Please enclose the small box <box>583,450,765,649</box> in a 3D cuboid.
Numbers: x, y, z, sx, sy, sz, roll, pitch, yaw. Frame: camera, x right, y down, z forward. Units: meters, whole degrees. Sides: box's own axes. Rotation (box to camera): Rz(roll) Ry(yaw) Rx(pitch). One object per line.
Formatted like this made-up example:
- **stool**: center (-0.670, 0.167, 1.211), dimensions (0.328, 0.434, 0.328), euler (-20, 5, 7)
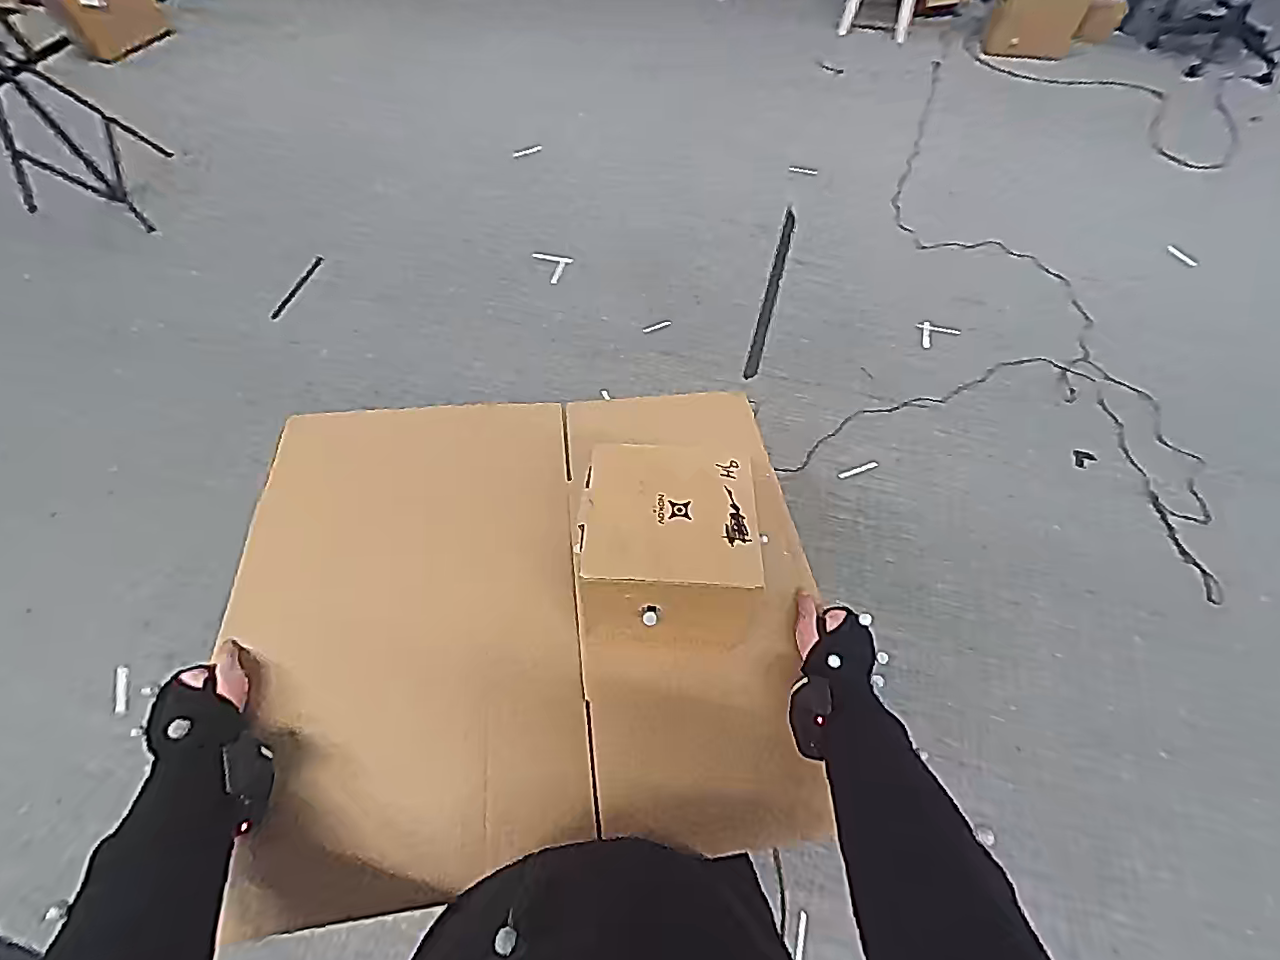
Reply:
- **small box**: center (0.035, 0.084, 0.620), dimensions (0.179, 0.176, 0.168), euler (3, 54, 0)
